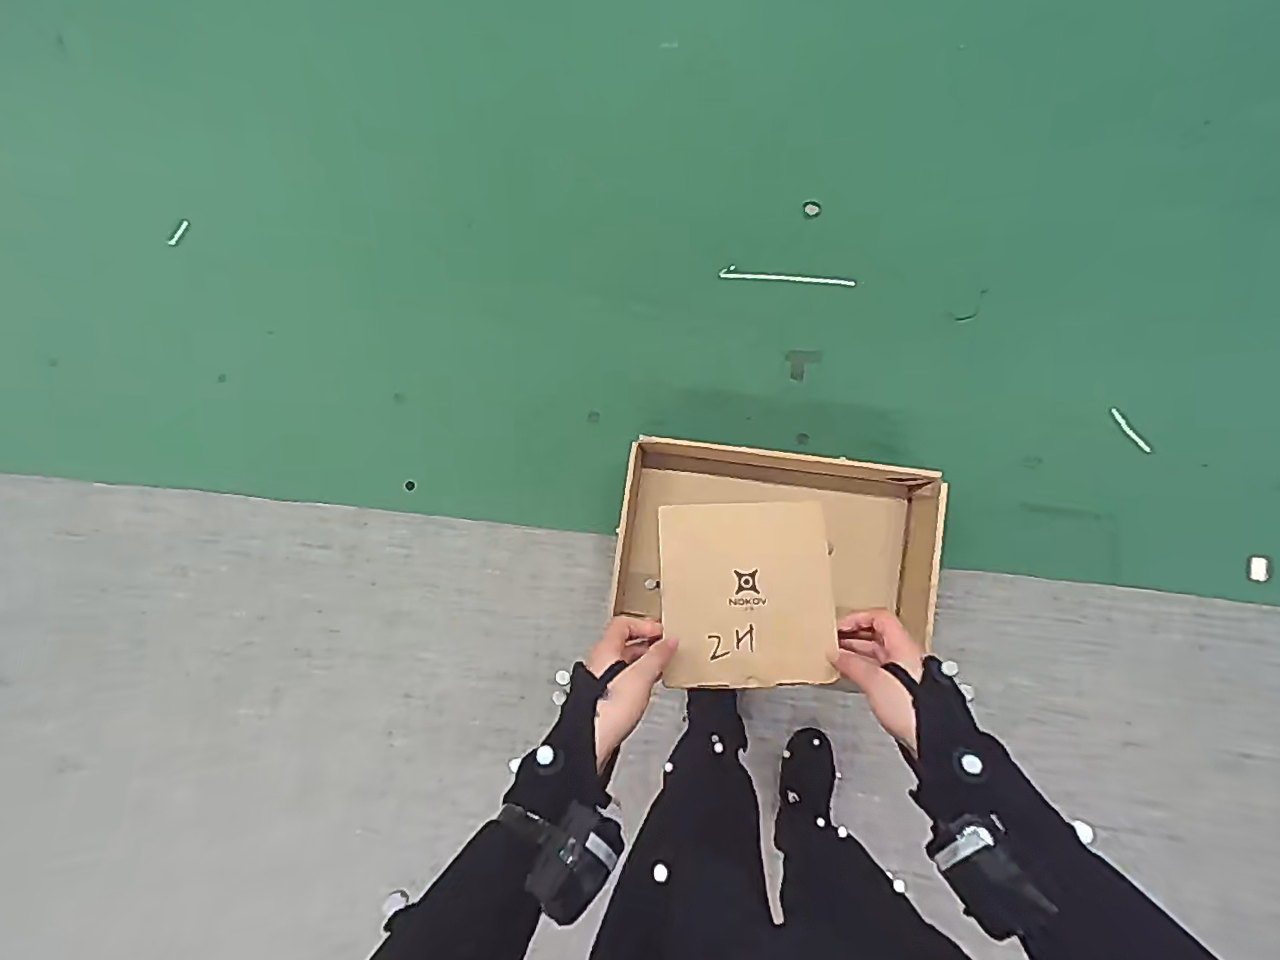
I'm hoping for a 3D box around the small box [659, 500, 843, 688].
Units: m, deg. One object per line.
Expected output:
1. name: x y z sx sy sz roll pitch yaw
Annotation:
1. small box: 0.105 0.123 0.590 0.168 0.176 0.179 -1 77 1
